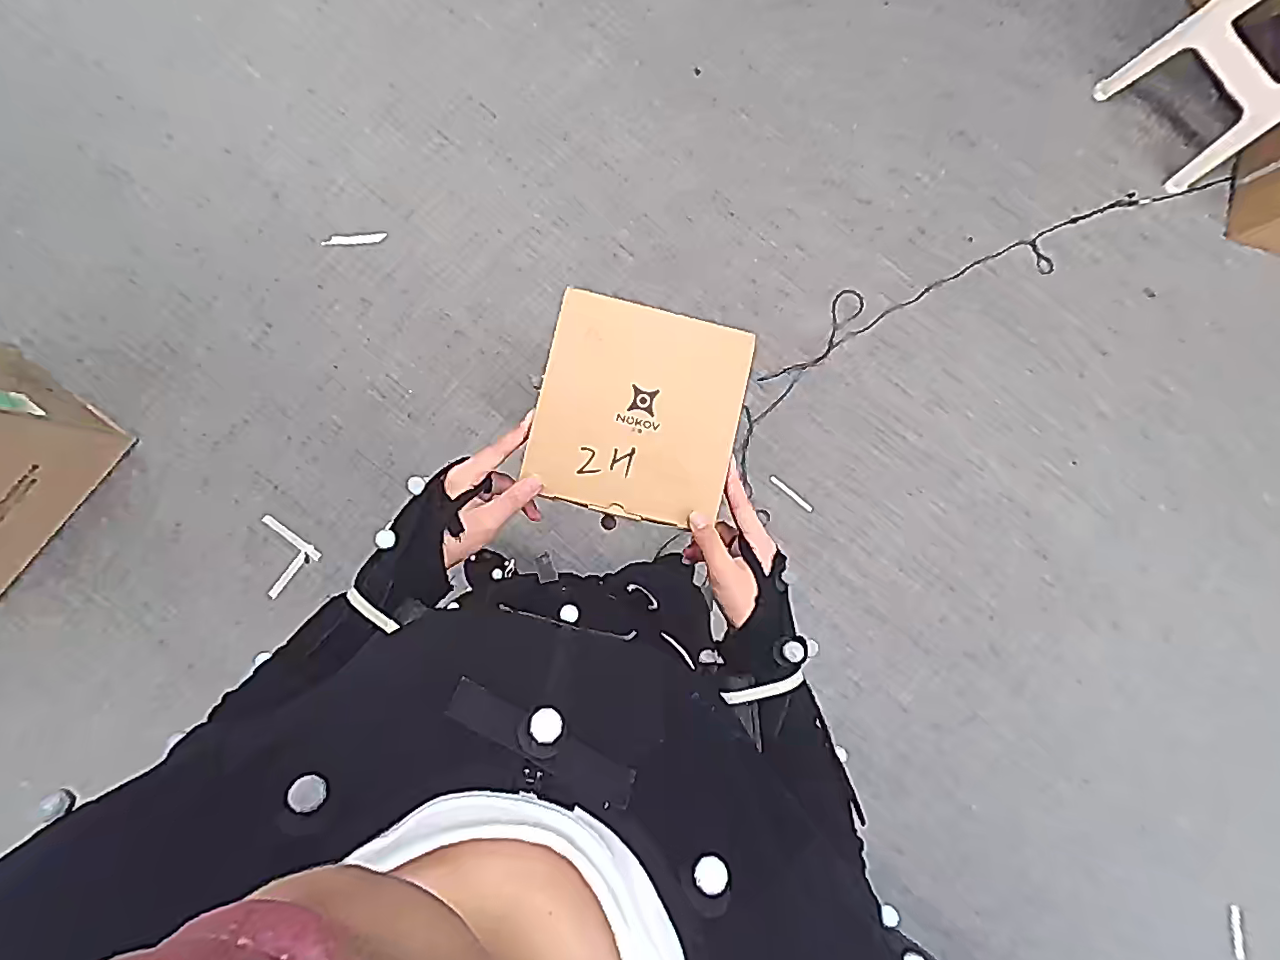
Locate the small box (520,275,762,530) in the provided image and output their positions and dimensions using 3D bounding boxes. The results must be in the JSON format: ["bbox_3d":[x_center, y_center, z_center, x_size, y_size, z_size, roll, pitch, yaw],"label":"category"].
[{"bbox_3d":[-0.003,-0.057,0.511,0.168,0.176,0.179,14,85,-3],"label":"small box"}]
